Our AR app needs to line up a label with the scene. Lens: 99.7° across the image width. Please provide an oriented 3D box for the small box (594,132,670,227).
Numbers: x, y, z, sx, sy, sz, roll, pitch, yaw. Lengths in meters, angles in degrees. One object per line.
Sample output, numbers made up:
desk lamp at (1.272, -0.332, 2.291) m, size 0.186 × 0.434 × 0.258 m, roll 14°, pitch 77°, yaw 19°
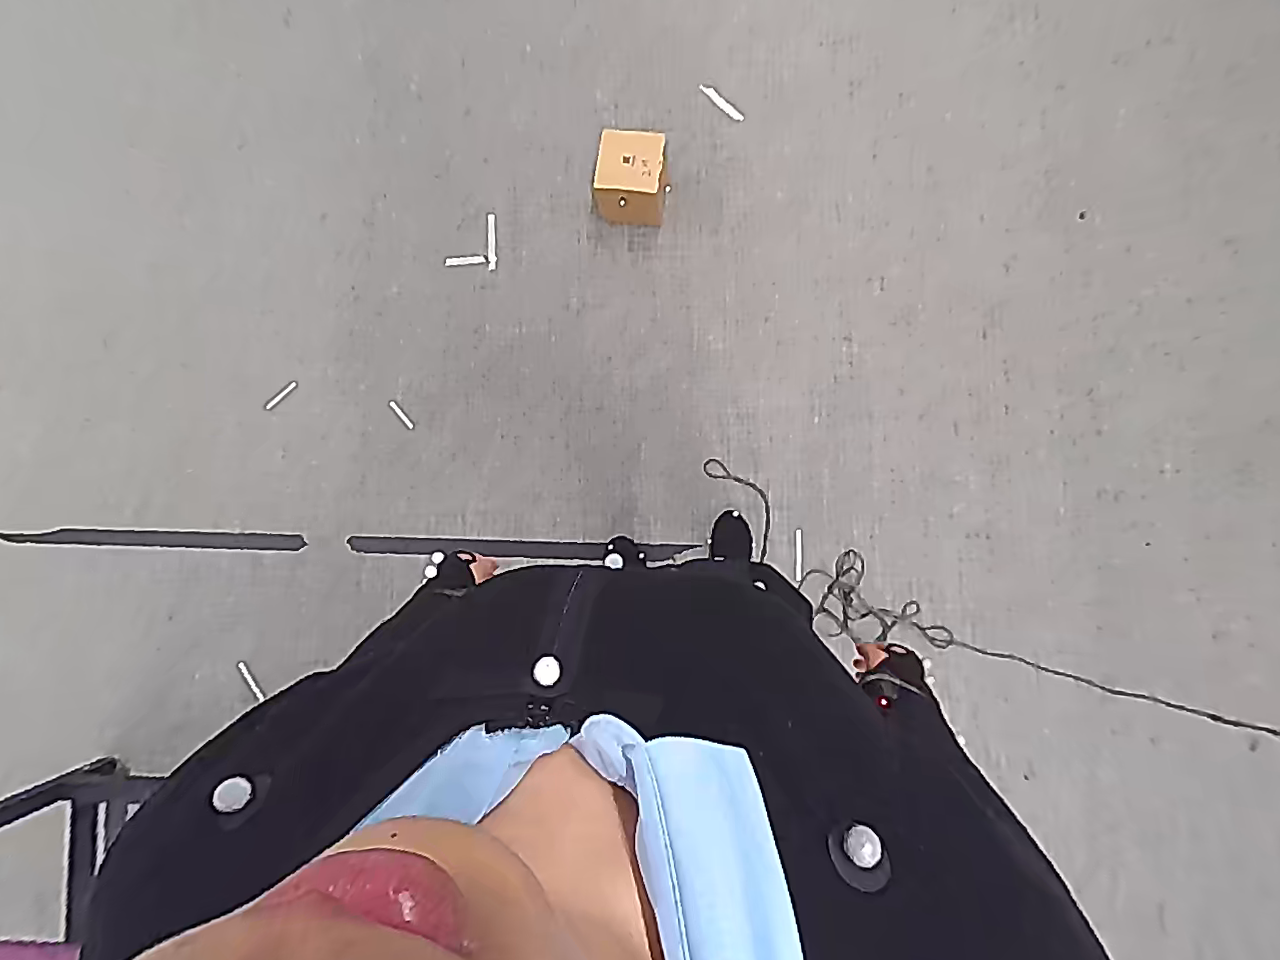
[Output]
small box at (-0.017, -0.830, 1.509) m, size 0.179 × 0.176 × 0.168 m, roll 9°, pitch 87°, yaw 6°
